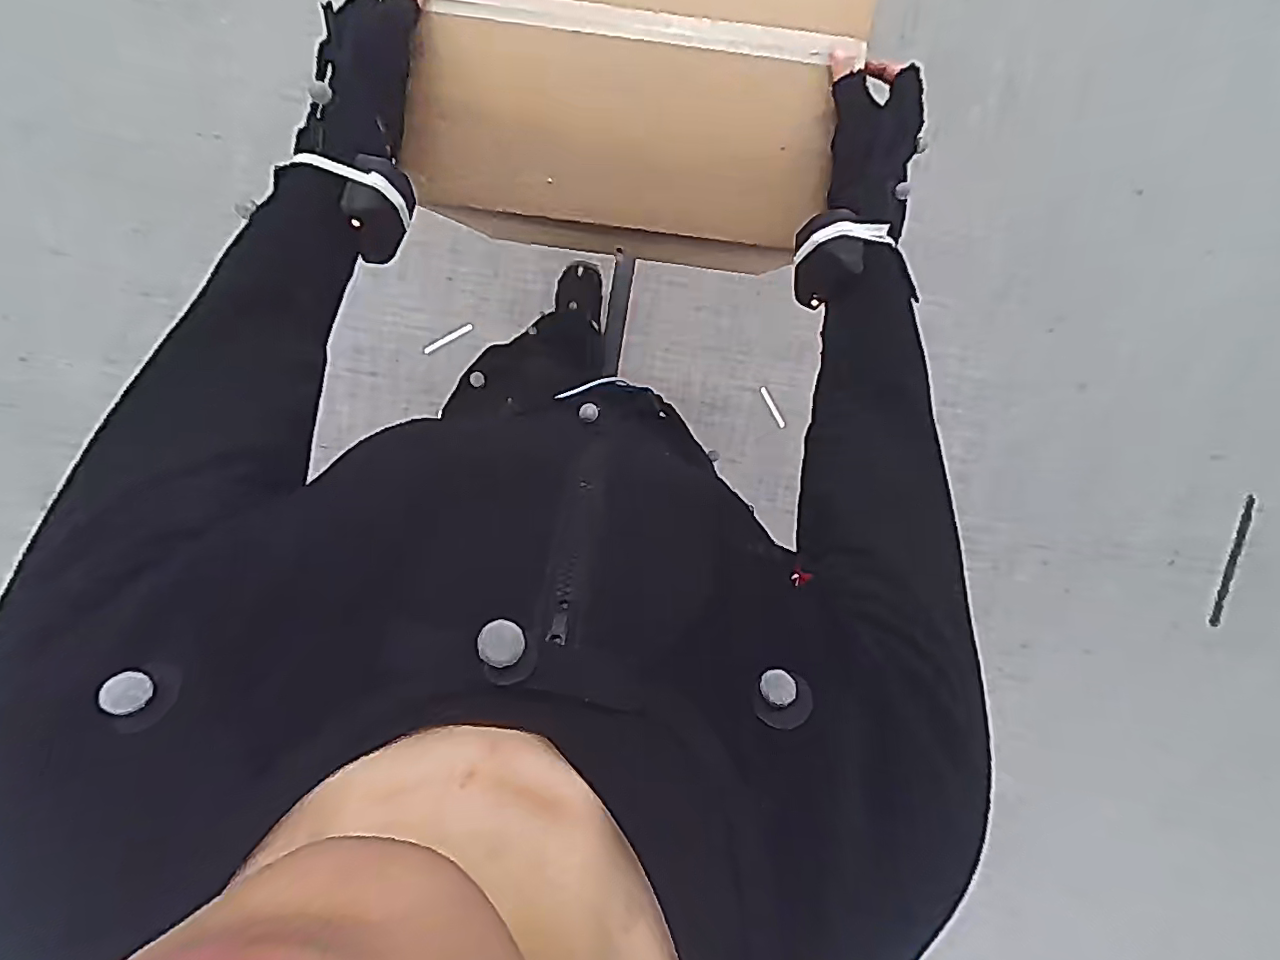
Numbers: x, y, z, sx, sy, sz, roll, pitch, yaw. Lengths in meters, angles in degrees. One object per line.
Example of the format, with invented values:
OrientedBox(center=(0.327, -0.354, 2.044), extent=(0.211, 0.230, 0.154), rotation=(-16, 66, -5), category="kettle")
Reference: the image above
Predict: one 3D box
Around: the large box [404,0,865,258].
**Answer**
OrientedBox(center=(-0.002, -0.445, 0.613), extent=(0.408, 0.320, 0.320), rotation=(7, 107, -1), category="large box")
